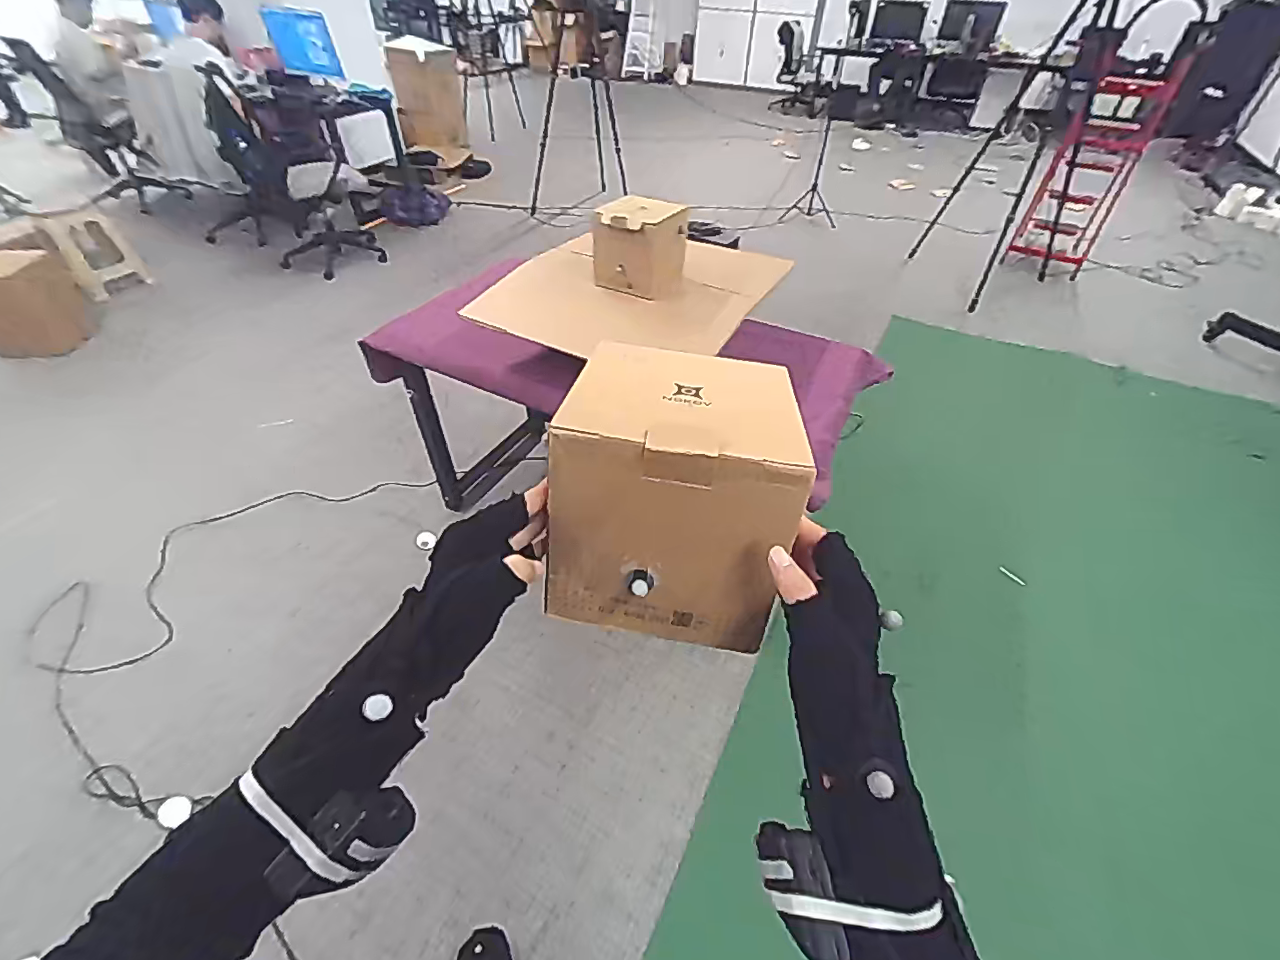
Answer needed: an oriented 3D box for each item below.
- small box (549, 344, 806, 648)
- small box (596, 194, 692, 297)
[{"bbox_3d":[0.023,0.005,0.445,0.168,0.176,0.179,8,33,3],"label":"small box"},{"bbox_3d":[0.008,-0.567,1.306,0.168,0.176,0.179,22,47,21],"label":"small box"}]
